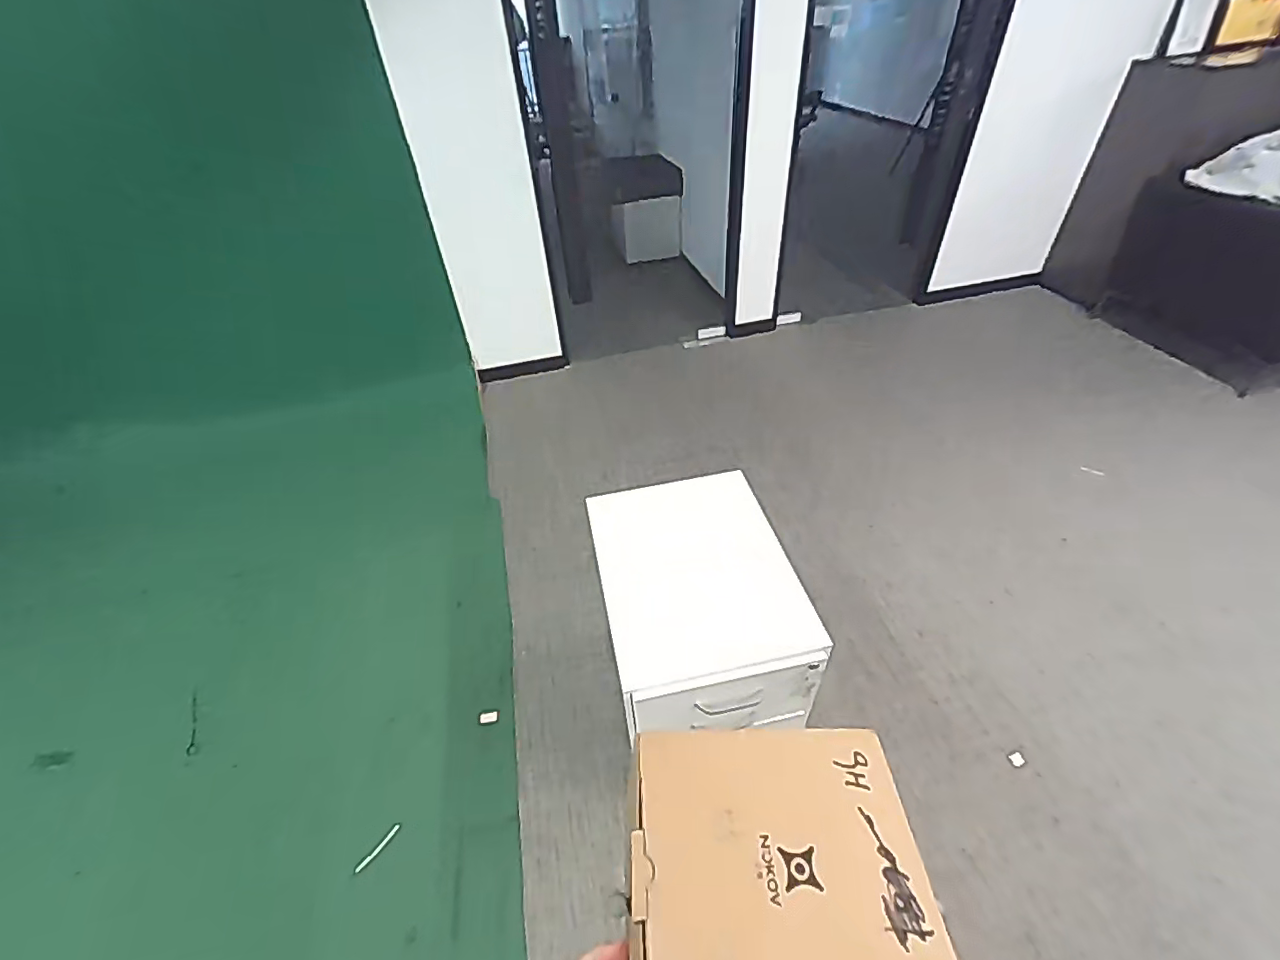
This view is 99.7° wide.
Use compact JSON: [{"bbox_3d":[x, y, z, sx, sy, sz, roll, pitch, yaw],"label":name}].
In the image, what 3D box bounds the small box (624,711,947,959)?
[{"bbox_3d":[0.078,0.287,0.389,0.179,0.176,0.168,2,41,-4],"label":"small box"}]
